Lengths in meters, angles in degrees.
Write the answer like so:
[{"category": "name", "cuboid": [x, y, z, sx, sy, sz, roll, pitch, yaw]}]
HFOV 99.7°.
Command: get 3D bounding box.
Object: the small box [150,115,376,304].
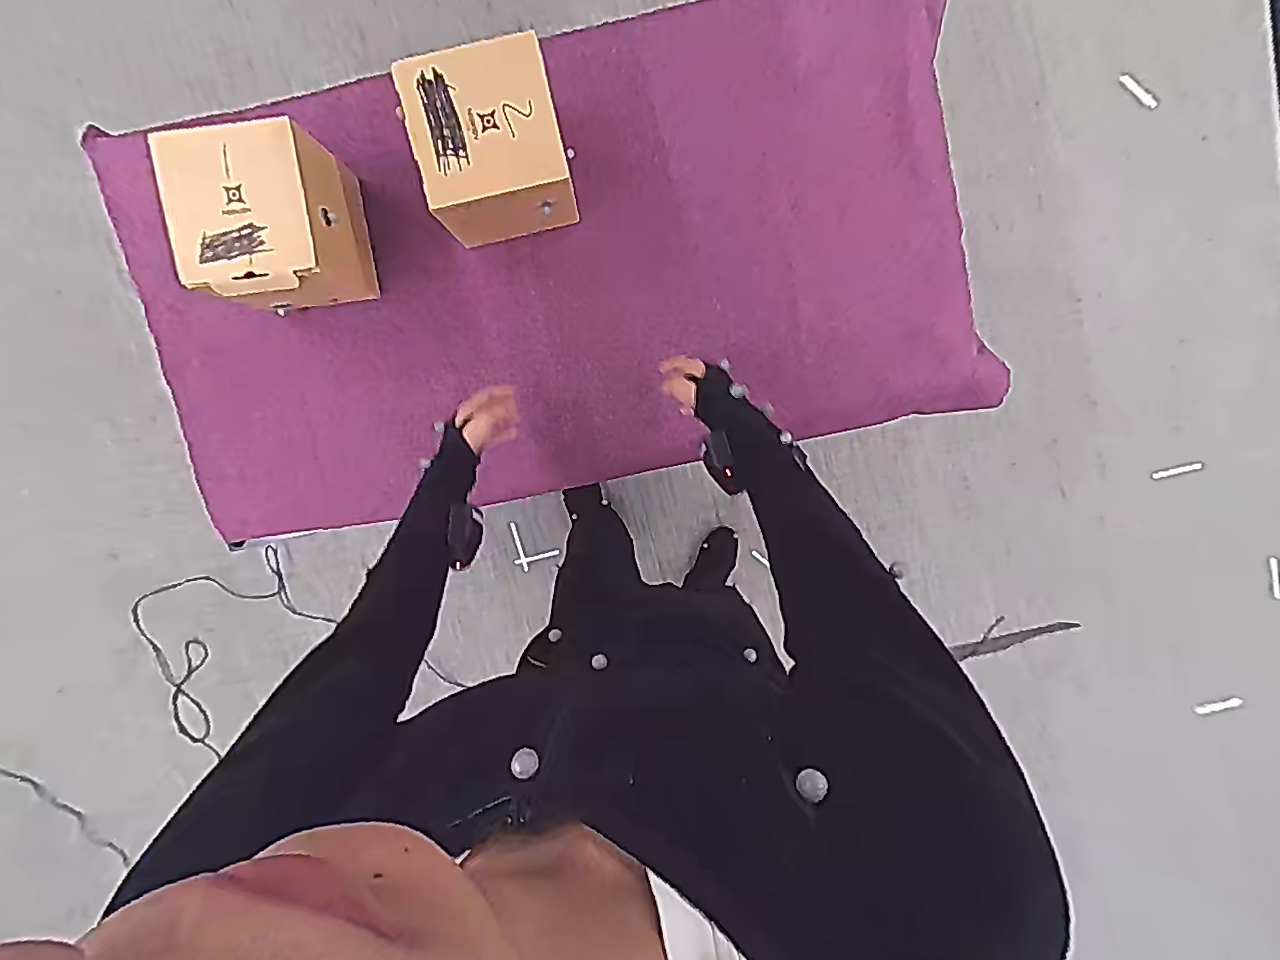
[{"category": "small box", "cuboid": [-0.474, -0.338, 0.712, 0.168, 0.176, 0.179, -8, 98, -1]}]
